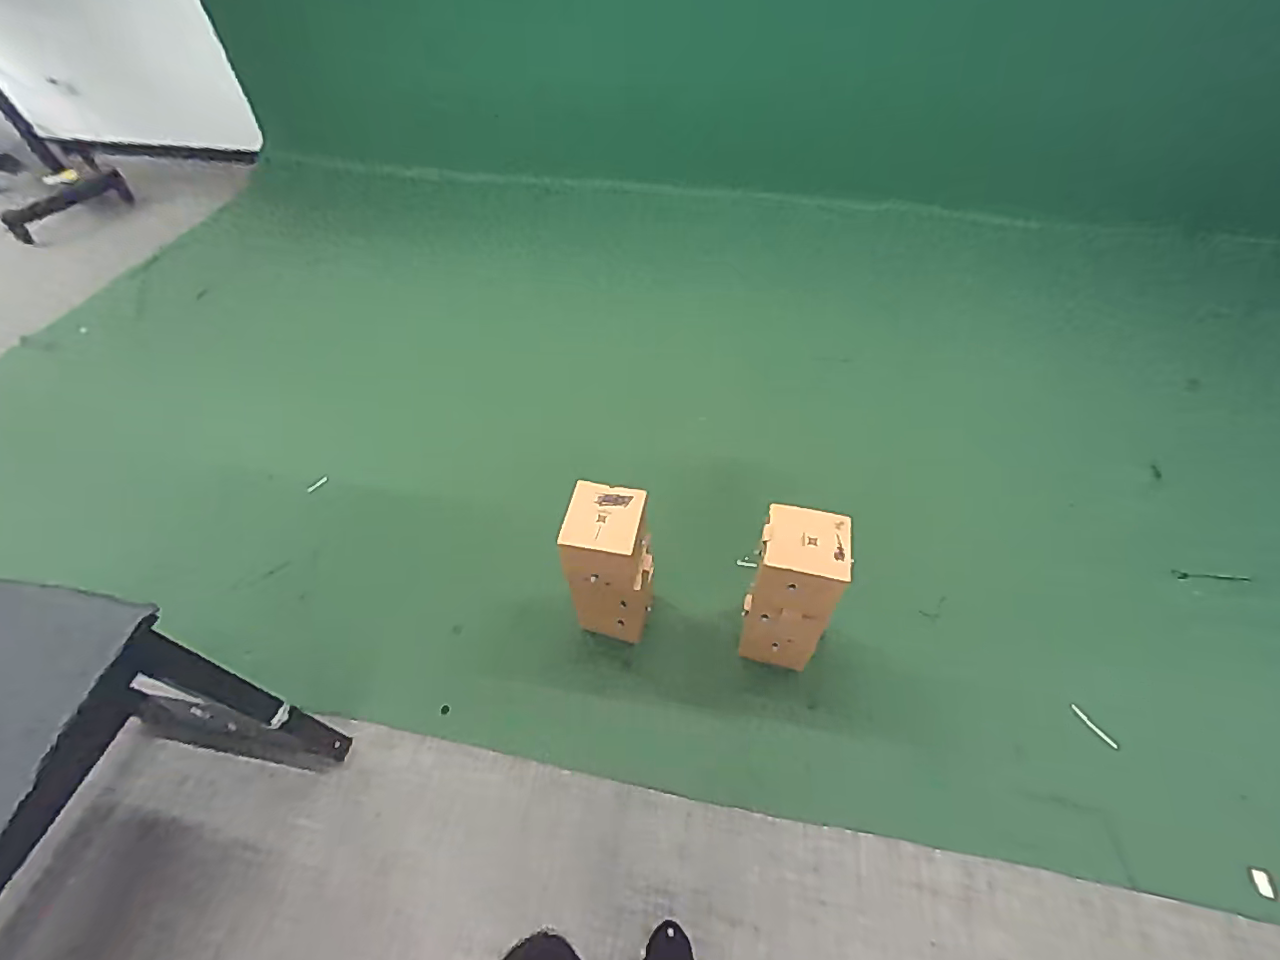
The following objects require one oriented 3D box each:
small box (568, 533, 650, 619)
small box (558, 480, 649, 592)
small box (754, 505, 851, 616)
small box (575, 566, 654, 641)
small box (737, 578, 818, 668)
[{"bbox_3d":[-0.071,0.236,1.367,0.179,0.176,0.168,6,51,7],"label":"small box"},{"bbox_3d":[-0.079,0.130,1.241,0.168,0.176,0.179,9,52,8],"label":"small box"},{"bbox_3d":[0.355,0.181,1.196,0.179,0.176,0.168,10,52,10],"label":"small box"},{"bbox_3d":[-0.066,0.328,1.501,0.179,0.176,0.168,13,53,11],"label":"small box"},{"bbox_3d":[0.370,0.387,1.451,0.179,0.176,0.168,12,53,10],"label":"small box"}]
